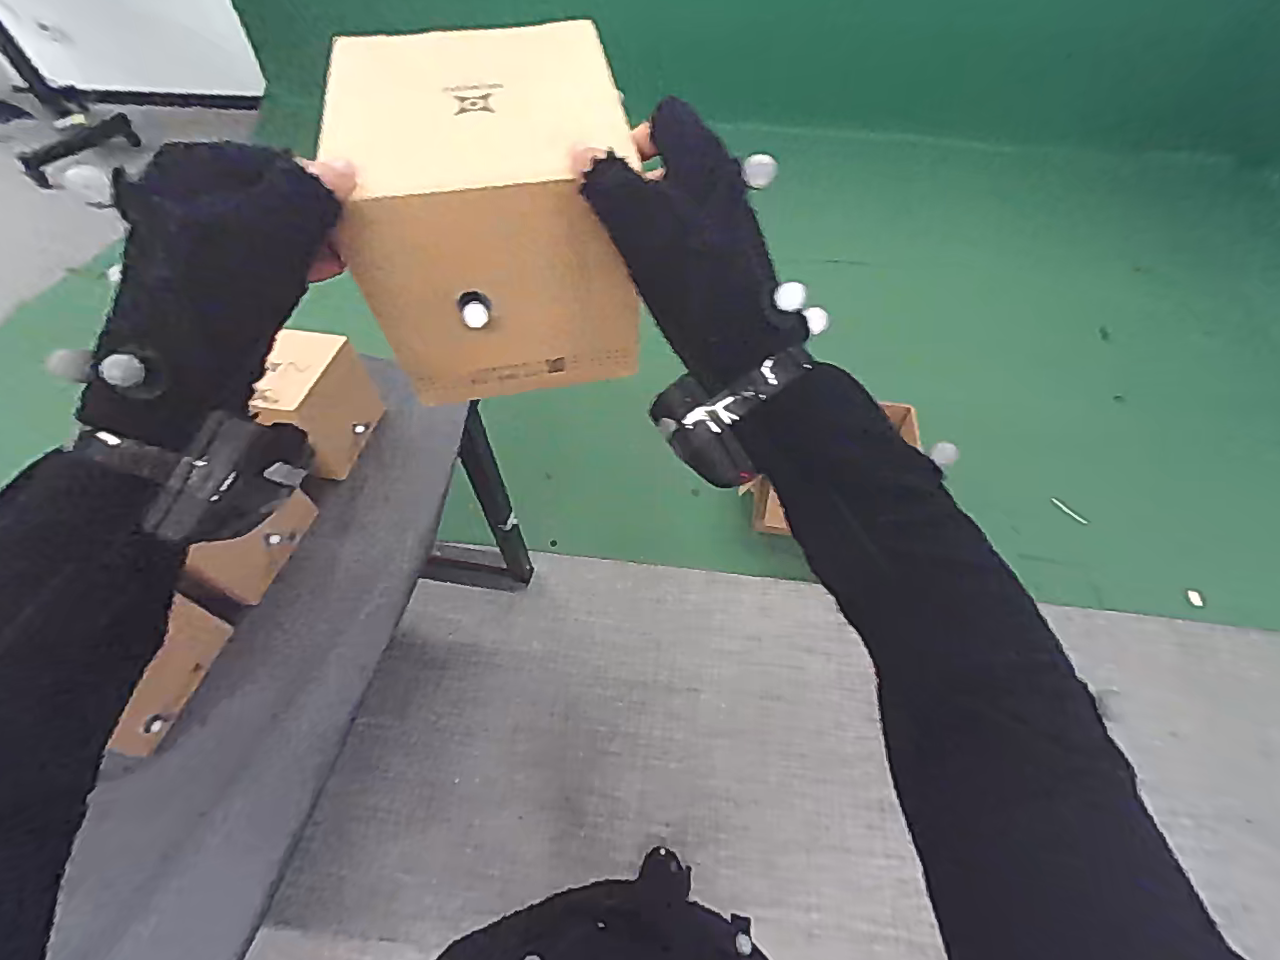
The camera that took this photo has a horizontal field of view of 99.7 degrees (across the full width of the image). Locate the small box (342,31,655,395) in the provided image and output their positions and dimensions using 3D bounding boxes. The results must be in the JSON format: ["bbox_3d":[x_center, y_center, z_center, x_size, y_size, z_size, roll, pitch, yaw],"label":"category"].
[{"bbox_3d":[-0.085,-0.176,0.386,0.168,0.176,0.179,-9,61,-6],"label":"small box"}]
